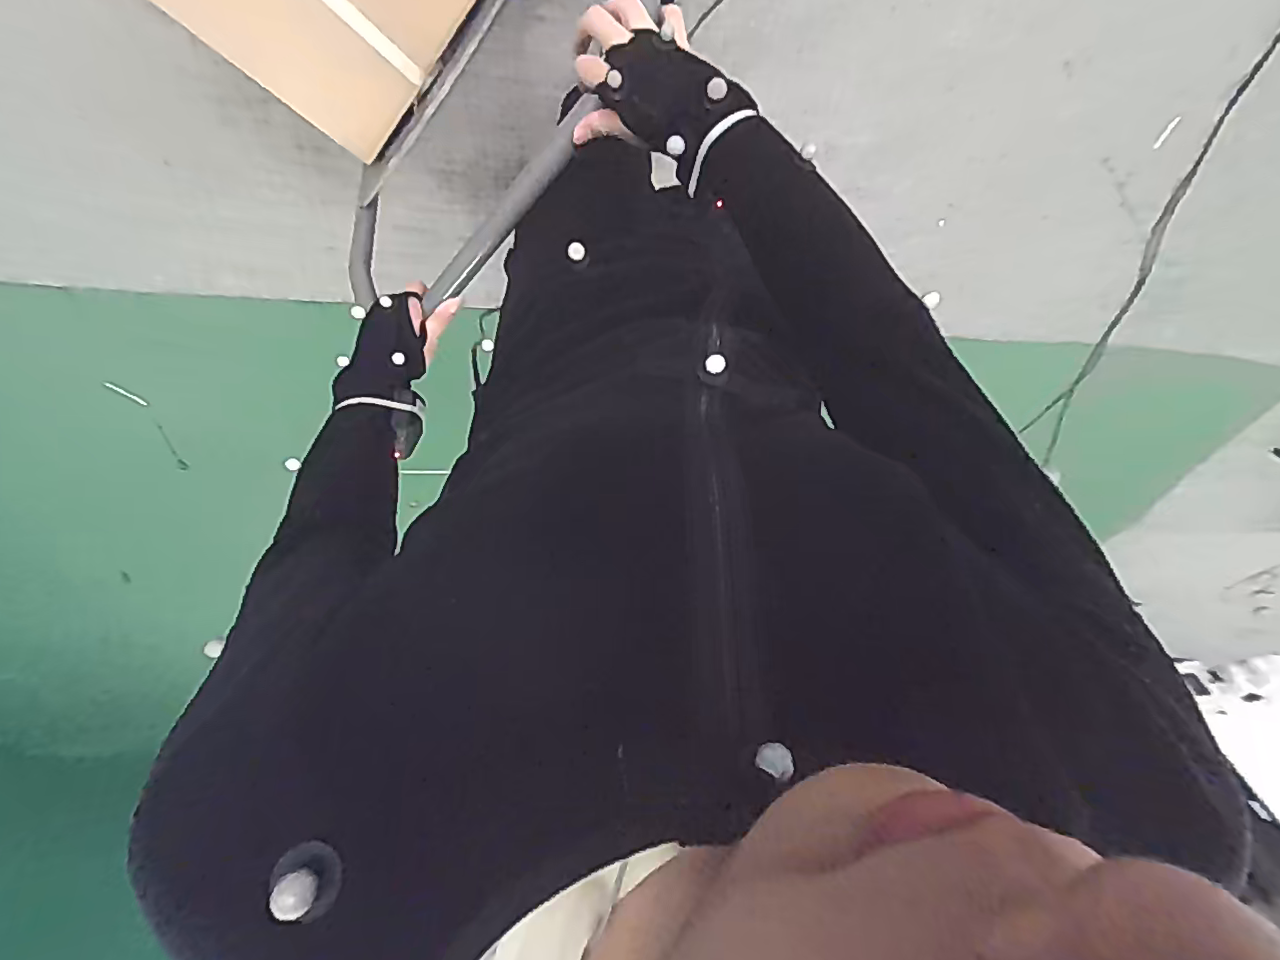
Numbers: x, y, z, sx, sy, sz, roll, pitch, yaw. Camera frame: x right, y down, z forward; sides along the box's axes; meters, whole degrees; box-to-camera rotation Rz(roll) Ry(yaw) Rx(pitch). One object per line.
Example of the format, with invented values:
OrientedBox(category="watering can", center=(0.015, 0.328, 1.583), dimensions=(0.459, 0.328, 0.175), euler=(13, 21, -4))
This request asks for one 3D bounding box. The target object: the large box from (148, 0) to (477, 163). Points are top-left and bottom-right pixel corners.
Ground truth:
OrientedBox(category="large box", center=(-0.462, -0.754, 0.742), dimensions=(0.320, 0.320, 0.408), euler=(-37, 135, 26))
